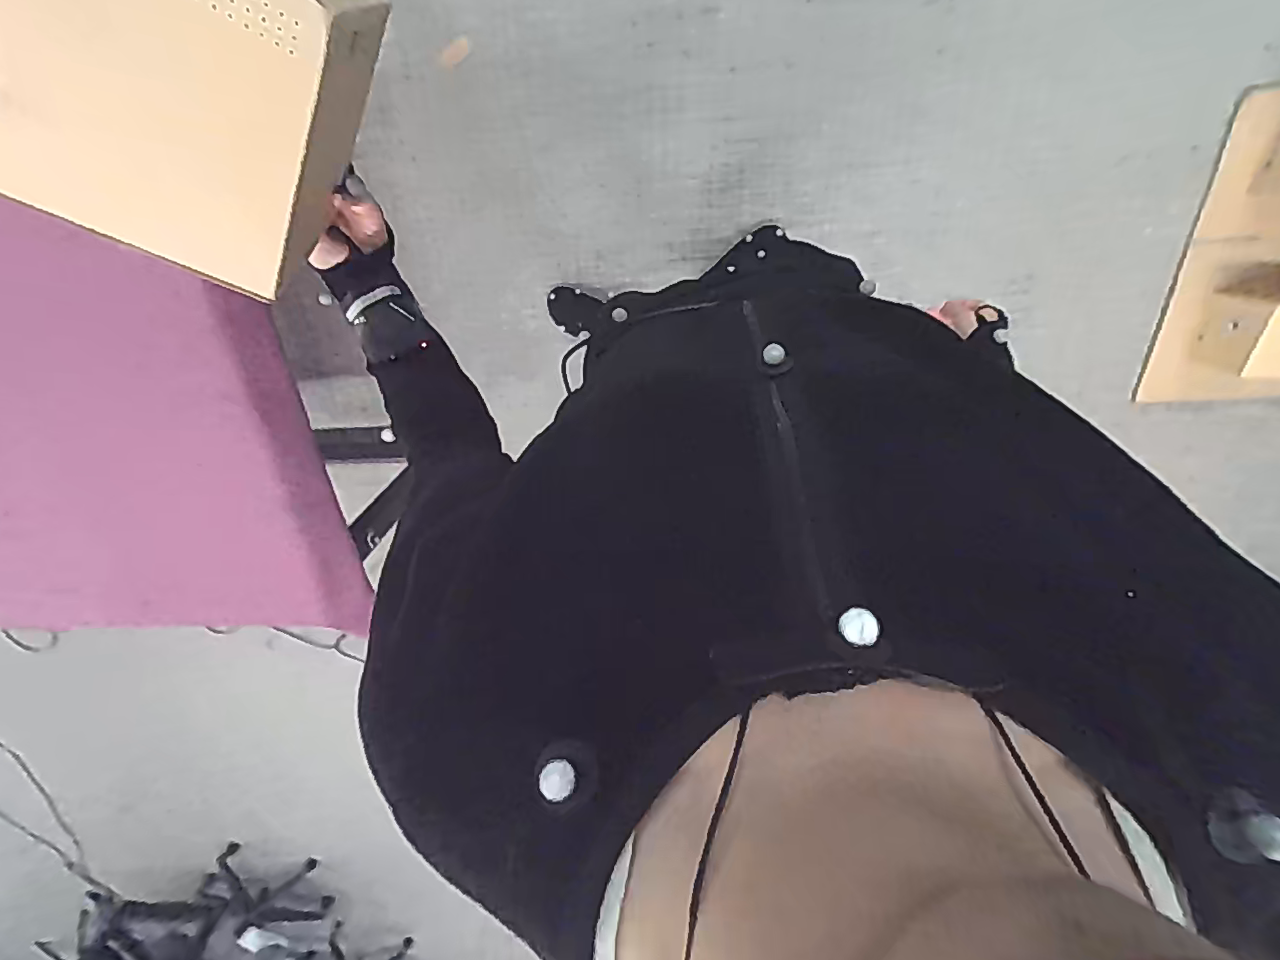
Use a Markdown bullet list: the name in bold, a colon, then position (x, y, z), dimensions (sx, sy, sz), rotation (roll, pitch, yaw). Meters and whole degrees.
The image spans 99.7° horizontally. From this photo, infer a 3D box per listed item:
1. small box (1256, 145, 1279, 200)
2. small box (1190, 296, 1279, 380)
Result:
- **small box**: position (1.465, -0.670, 1.113), dimensions (0.179, 0.176, 0.168), rotation (2, 117, 1)
- **small box**: position (1.483, -0.337, 1.276), dimensions (0.179, 0.176, 0.168), rotation (1, 117, 1)
